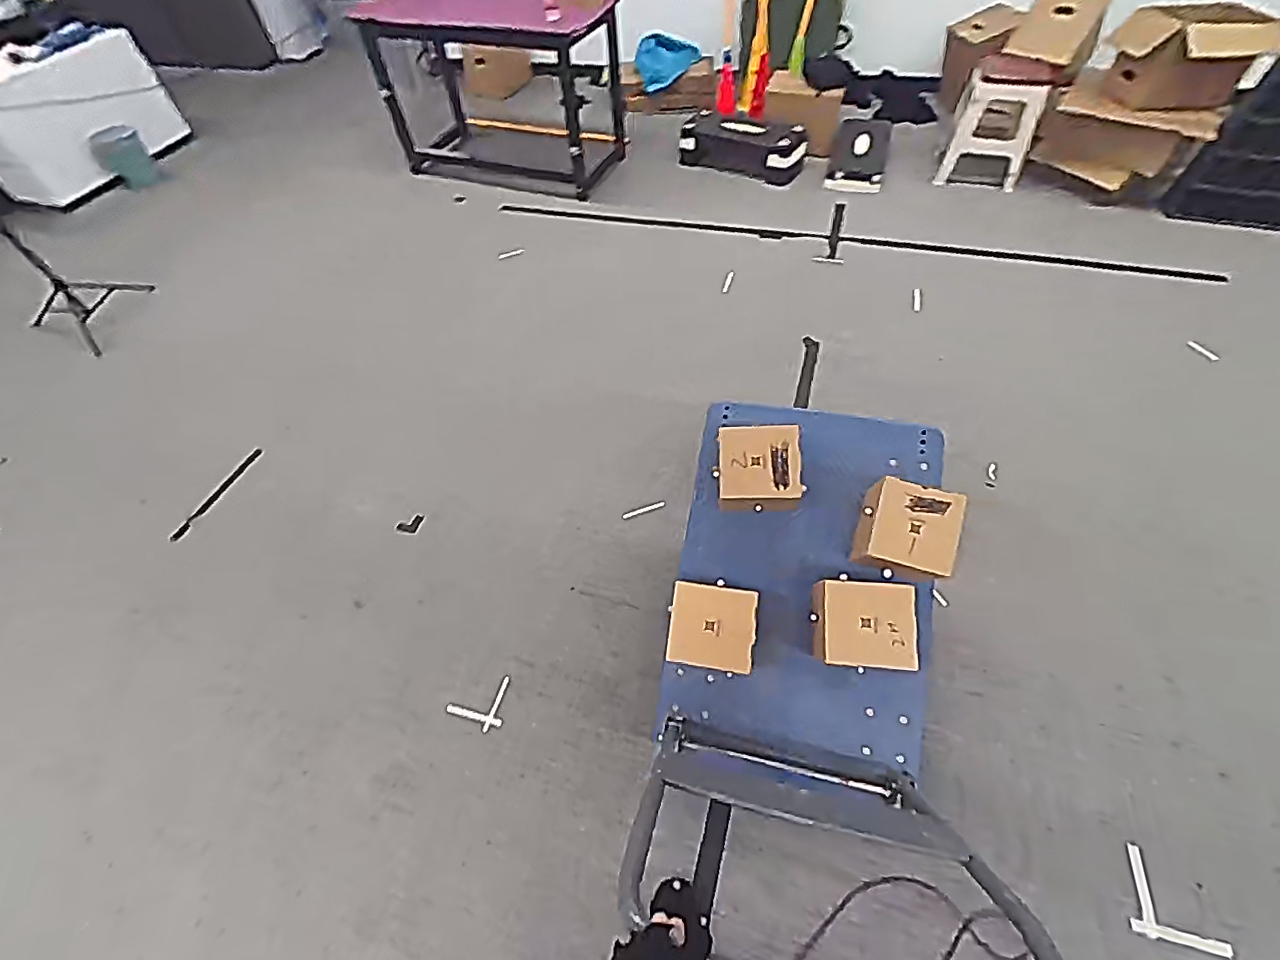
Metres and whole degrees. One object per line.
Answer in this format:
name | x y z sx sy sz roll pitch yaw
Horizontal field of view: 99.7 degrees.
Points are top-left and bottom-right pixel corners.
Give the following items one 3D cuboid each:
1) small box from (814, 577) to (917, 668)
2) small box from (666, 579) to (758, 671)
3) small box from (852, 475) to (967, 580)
small box | 0.469 0.301 1.151 0.179 0.176 0.168 2 77 10
small box | 0.160 0.319 1.195 0.179 0.176 0.168 6 77 8
small box | 0.578 0.109 1.181 0.168 0.176 0.179 16 80 13
